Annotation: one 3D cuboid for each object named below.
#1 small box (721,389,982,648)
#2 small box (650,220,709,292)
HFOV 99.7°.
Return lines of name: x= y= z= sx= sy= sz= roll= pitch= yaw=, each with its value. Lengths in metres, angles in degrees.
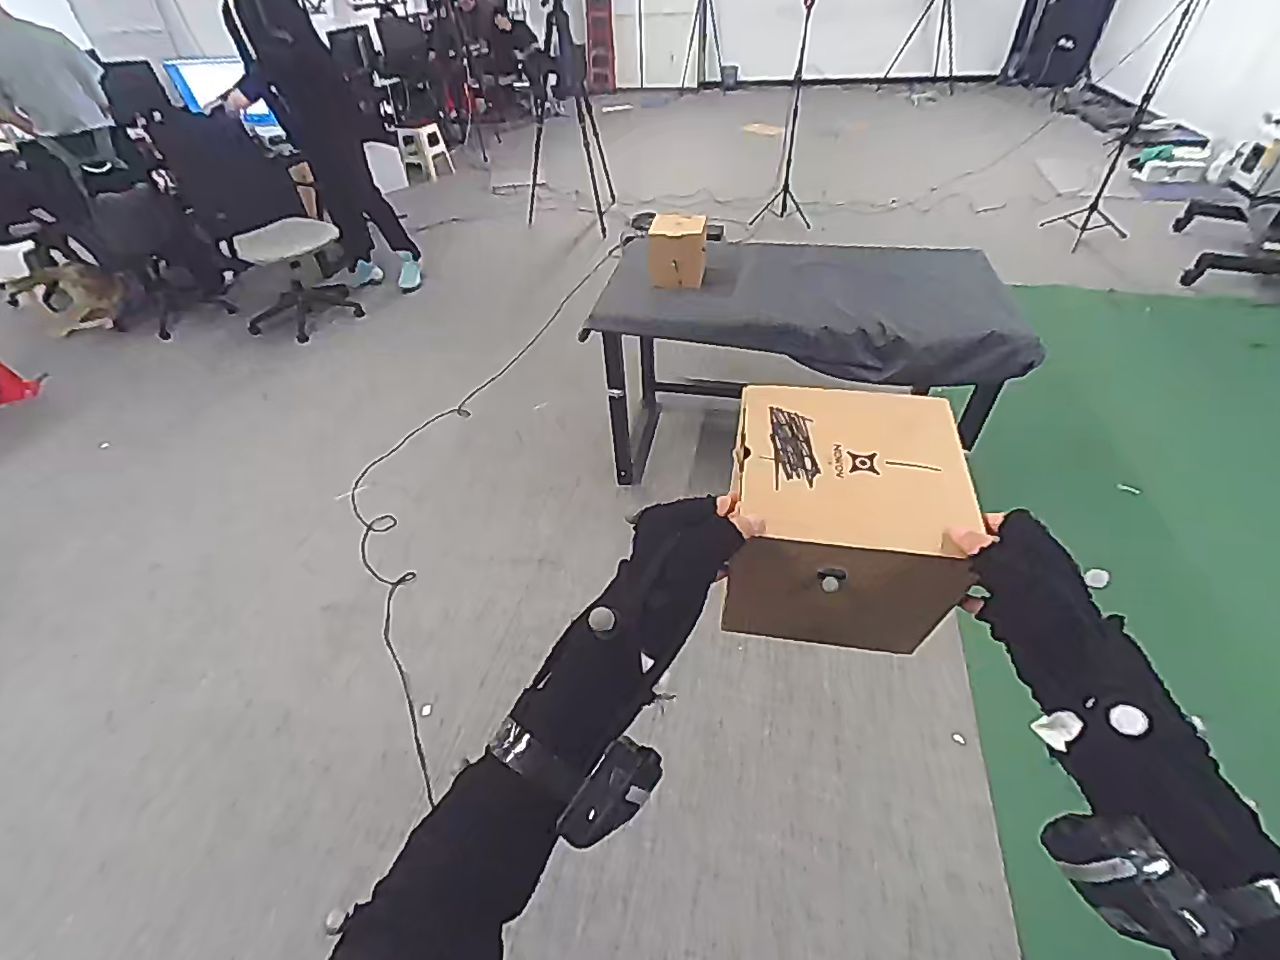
small box: x=0.169 y=0.037 z=0.495 sx=0.179 sy=0.176 sz=0.168 roll=6 pitch=51 yaw=8
small box: x=0.132 y=-0.722 z=1.745 sx=0.168 sy=0.176 sz=0.179 roll=6 pitch=45 yaw=10
